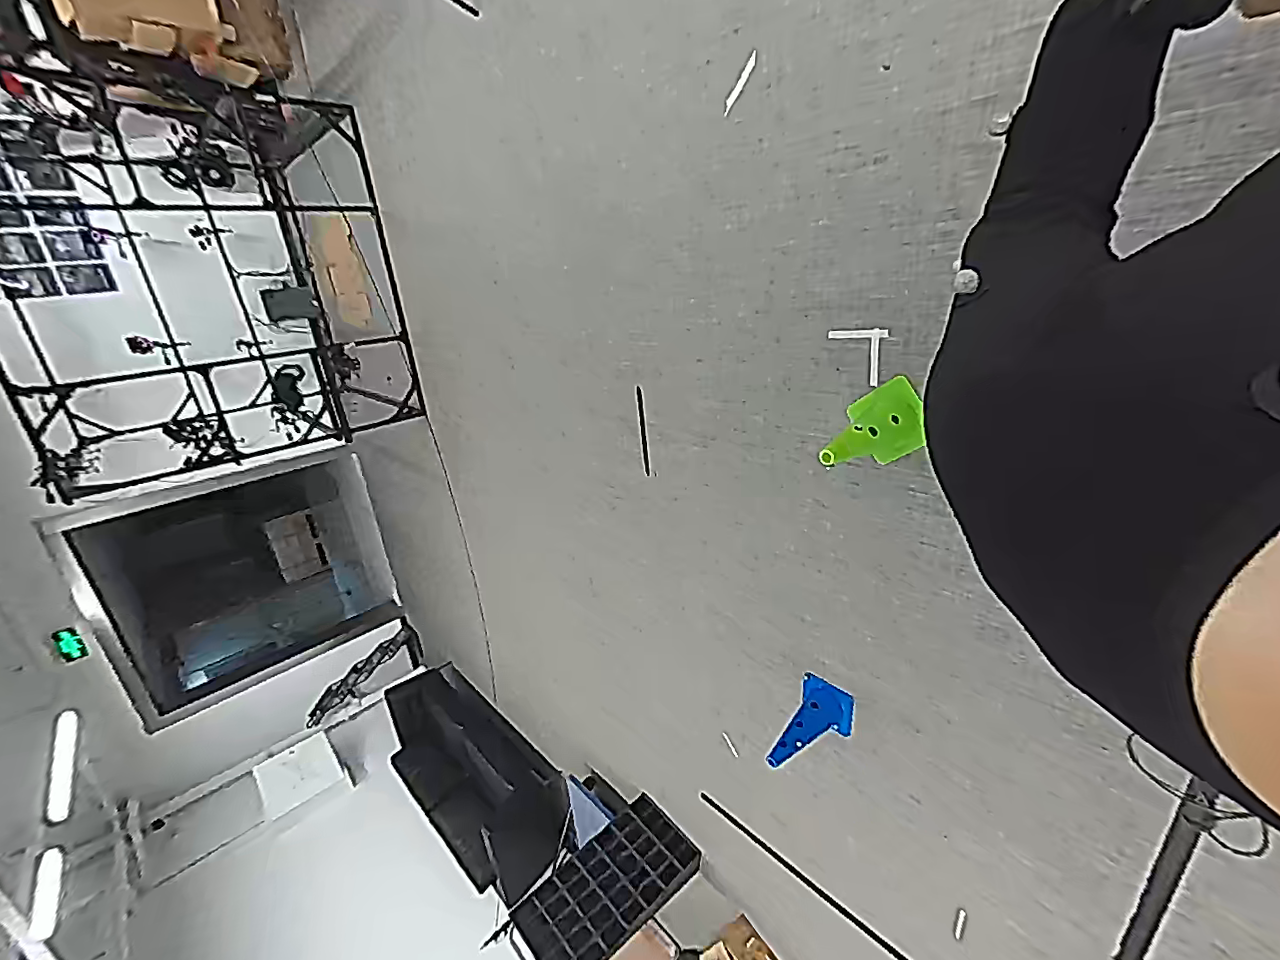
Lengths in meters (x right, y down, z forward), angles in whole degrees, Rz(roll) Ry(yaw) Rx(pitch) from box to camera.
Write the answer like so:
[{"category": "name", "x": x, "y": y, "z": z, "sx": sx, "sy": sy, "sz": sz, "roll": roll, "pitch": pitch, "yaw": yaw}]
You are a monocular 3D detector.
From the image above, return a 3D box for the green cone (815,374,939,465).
[{"category": "green cone", "x": 0.574, "y": -0.116, "z": 1.405, "sx": 0.200, "sy": 0.368, "sz": 0.202, "roll": 61, "pitch": 144, "yaw": 8}]

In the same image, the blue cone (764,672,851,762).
[{"category": "blue cone", "x": 0.581, "y": 0.884, "z": 1.935, "sx": 0.192, "sy": 0.380, "sz": 0.193, "roll": 22, "pitch": 124, "yaw": 44}]
